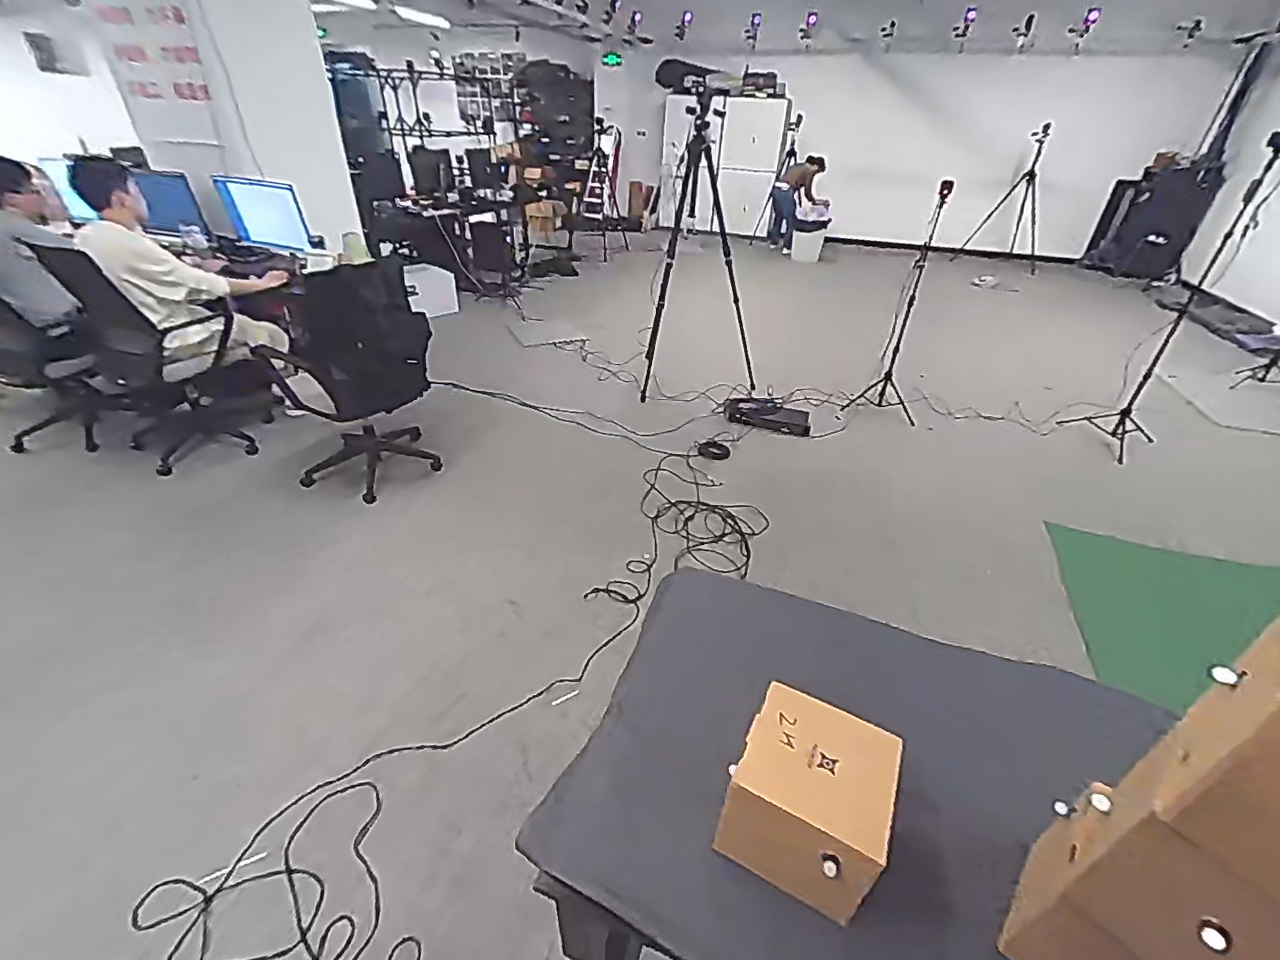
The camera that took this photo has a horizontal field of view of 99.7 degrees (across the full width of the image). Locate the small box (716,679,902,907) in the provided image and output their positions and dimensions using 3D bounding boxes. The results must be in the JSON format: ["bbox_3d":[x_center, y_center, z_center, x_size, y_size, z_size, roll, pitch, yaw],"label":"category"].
[{"bbox_3d":[0.215,0.405,0.702,0.179,0.176,0.168,18,36,23],"label":"small box"}]

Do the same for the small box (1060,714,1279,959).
[{"bbox_3d":[0.543,0.358,0.494,0.168,0.176,0.179,-21,40,-32],"label":"small box"}]
